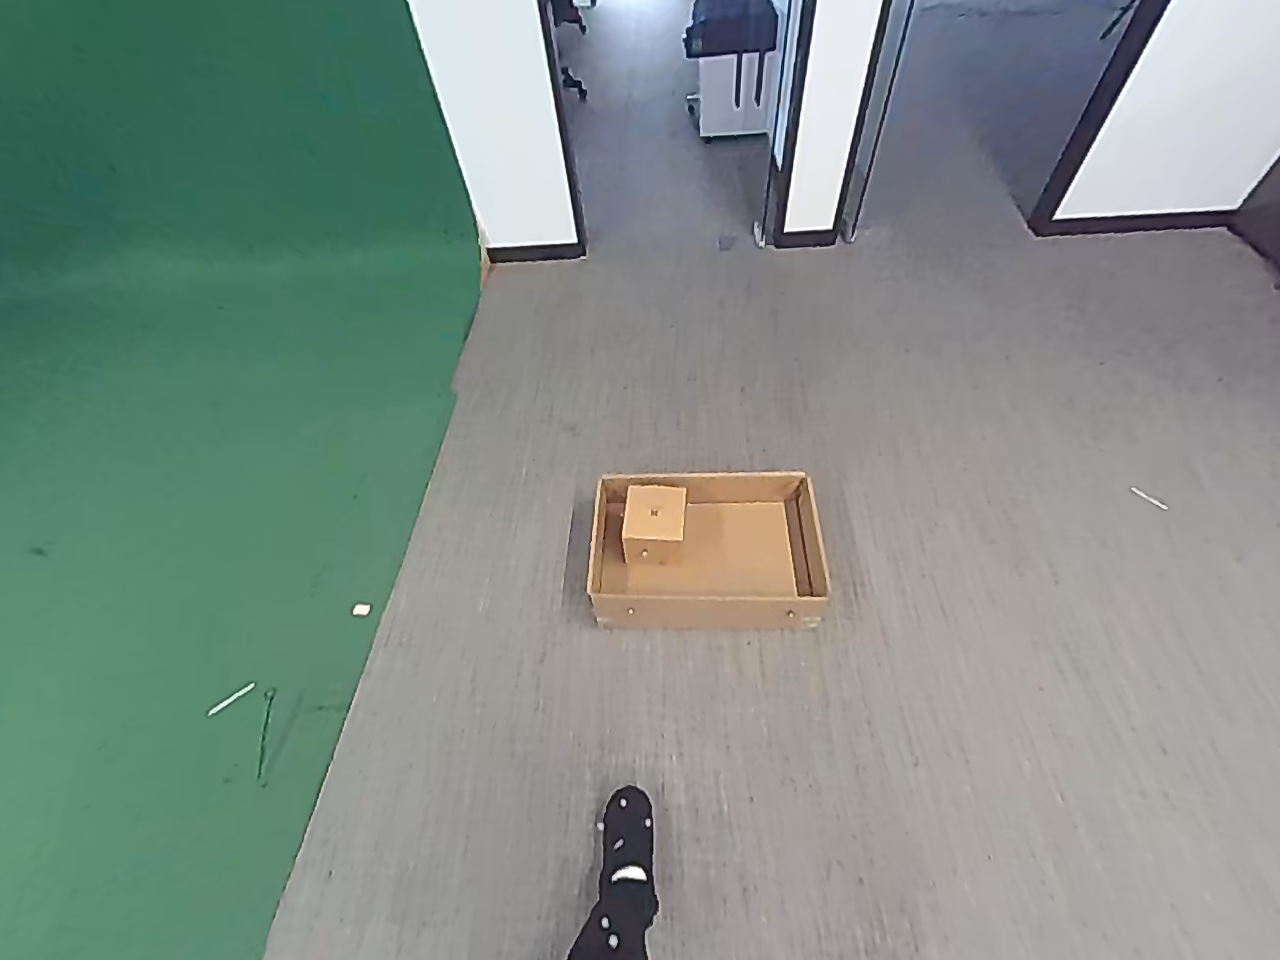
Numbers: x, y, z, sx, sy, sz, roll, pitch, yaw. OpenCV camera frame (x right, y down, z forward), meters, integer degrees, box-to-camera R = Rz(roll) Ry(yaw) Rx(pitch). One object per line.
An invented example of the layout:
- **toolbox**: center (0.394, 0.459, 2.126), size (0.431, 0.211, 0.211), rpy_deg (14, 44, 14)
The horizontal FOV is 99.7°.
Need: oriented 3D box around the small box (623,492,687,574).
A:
- **small box**: center (0.049, 0.155, 1.544), size (0.168, 0.176, 0.179), rpy_deg (3, 53, 6)
